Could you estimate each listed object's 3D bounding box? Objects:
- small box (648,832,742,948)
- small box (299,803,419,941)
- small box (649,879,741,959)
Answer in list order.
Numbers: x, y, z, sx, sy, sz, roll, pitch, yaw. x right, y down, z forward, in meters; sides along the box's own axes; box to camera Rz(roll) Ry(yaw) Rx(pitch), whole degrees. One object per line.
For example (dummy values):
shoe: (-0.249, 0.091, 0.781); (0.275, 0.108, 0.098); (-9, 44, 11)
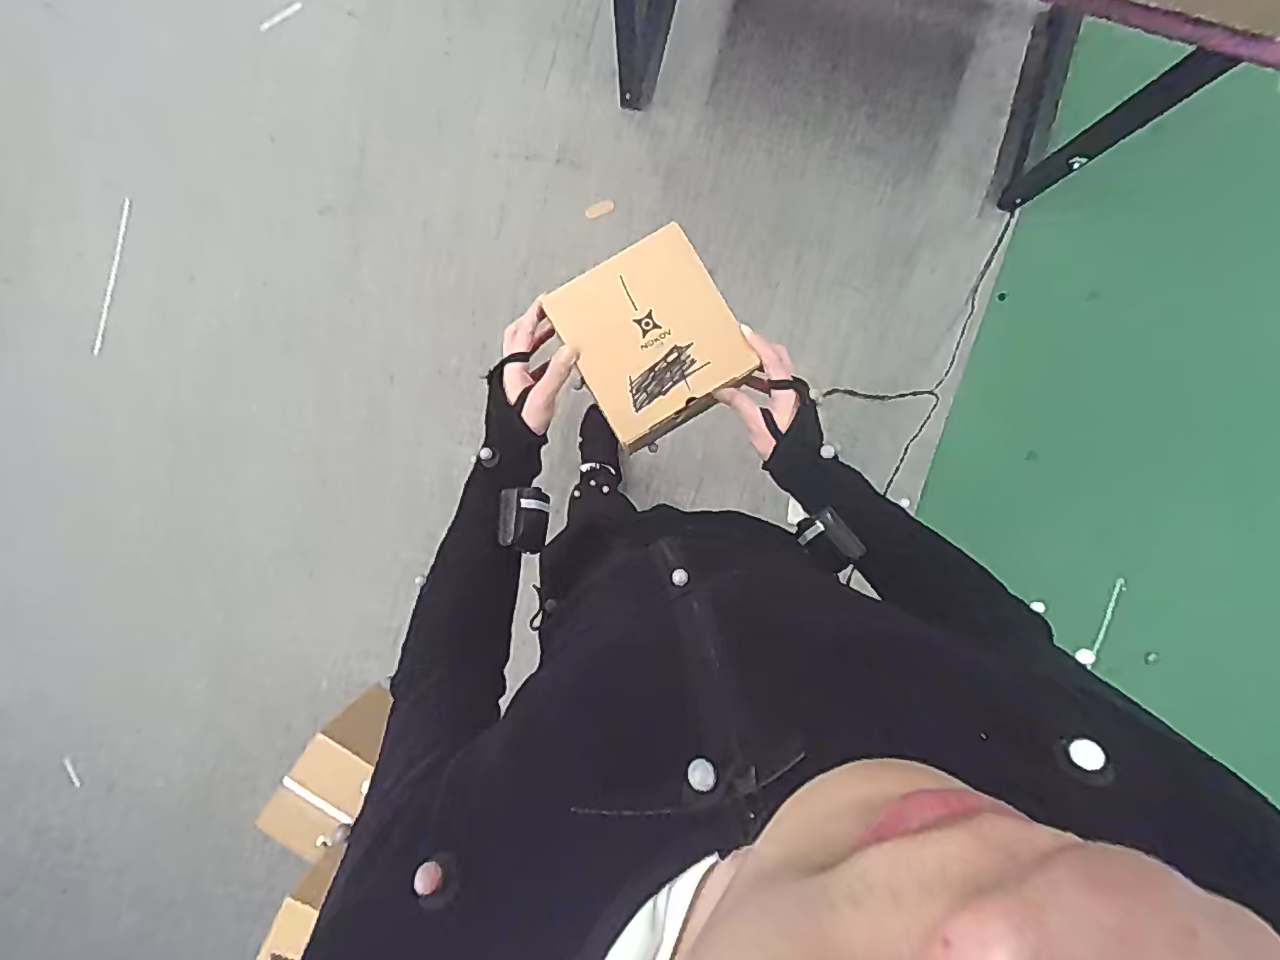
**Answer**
small box: (0.125, 0.986, 1.285); (0.179, 0.176, 0.168); (-17, 93, 1)
small box: (-0.655, 0.921, 1.288); (0.168, 0.176, 0.179); (27, 92, 0)
small box: (0.120, 0.987, 1.123); (0.168, 0.176, 0.179); (-15, 92, 0)
